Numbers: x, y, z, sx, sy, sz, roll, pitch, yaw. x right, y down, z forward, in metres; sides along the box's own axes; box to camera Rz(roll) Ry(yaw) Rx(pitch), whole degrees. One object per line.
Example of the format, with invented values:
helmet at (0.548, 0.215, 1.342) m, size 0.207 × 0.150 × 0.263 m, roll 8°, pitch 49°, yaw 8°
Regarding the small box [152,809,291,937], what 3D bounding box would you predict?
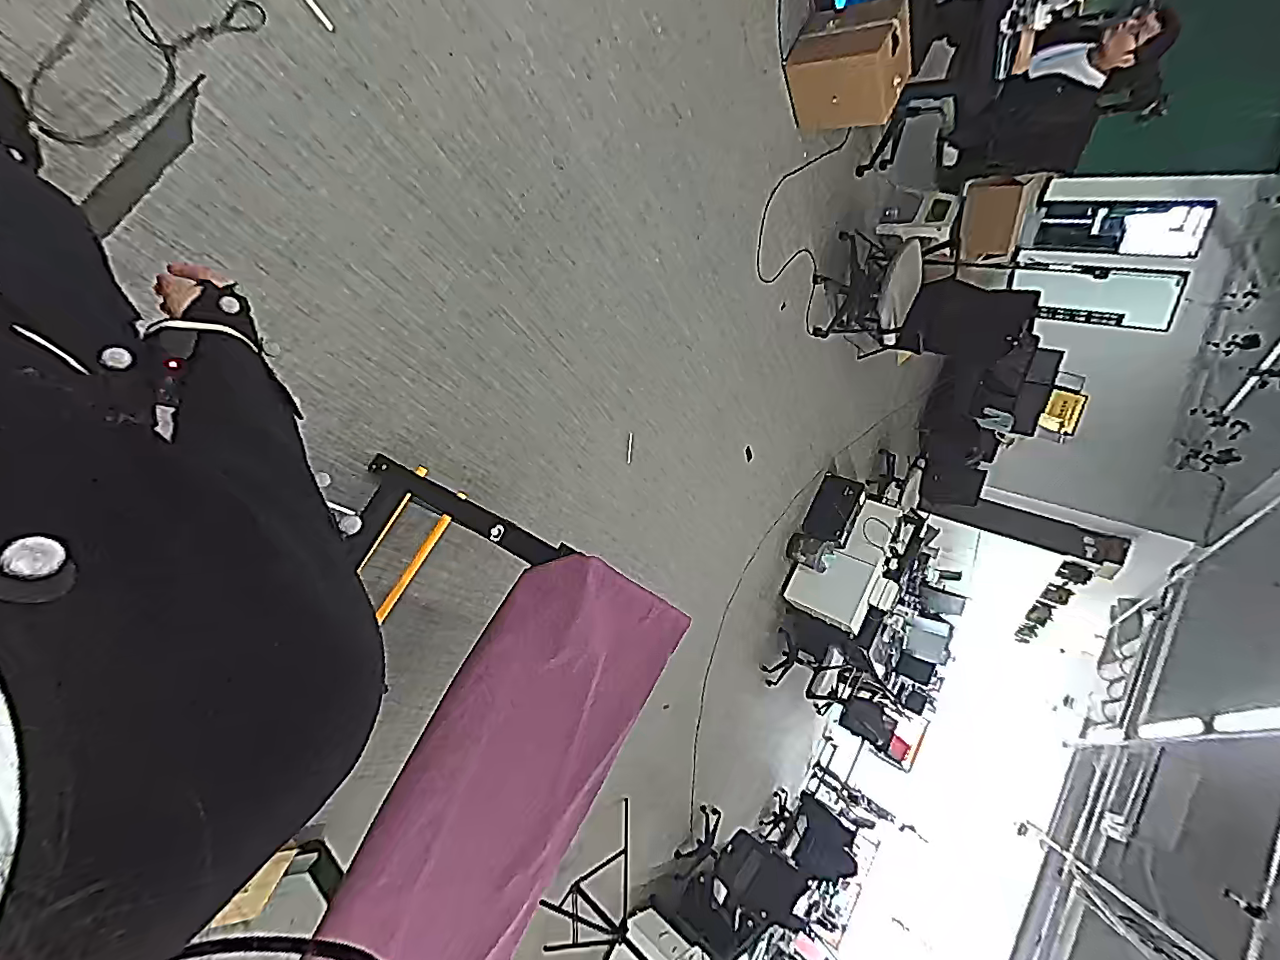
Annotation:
small box at (-0.969, 0.893, 1.250) m, size 0.168 × 0.176 × 0.179 m, roll -61°, pitch 146°, yaw -12°
